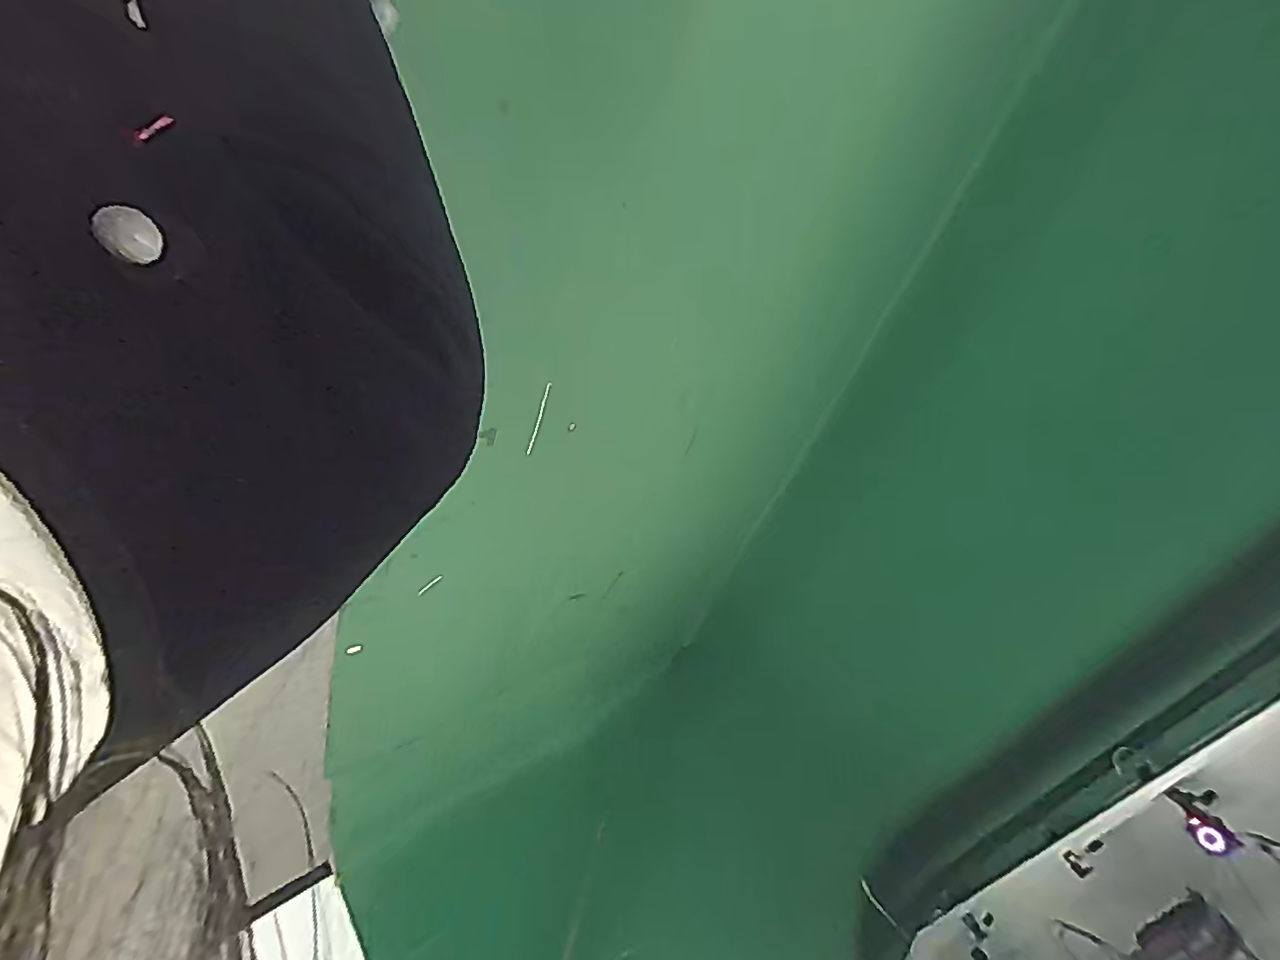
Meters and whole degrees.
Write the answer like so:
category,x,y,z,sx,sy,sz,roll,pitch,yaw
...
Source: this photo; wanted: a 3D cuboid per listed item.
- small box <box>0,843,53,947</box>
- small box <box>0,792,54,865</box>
category,x,y,z,sx,sy,sz,roll,pitch,yaw
small box,-1.749,1.151,1.477,0.179,0.176,0.168,-12,135,-44
small box,-1.849,1.056,1.566,0.179,0.176,0.168,-14,137,-45
